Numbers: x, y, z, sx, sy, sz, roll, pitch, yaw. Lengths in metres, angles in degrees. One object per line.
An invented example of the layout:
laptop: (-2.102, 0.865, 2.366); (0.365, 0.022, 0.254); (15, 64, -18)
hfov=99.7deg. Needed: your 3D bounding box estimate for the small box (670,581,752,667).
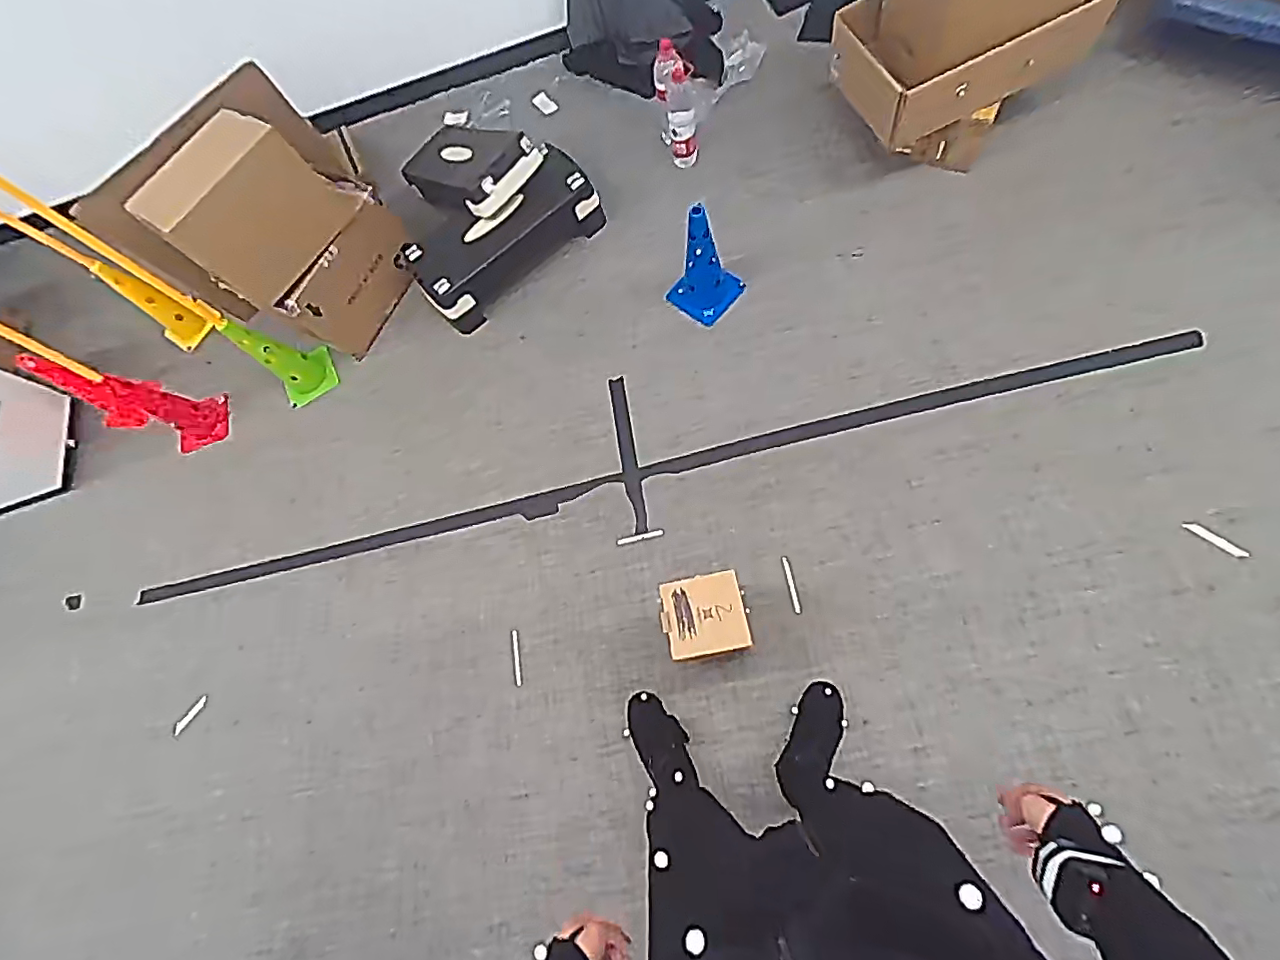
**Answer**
small box: (0.188, 0.373, 1.395); (0.168, 0.176, 0.179); (-17, 70, 6)
